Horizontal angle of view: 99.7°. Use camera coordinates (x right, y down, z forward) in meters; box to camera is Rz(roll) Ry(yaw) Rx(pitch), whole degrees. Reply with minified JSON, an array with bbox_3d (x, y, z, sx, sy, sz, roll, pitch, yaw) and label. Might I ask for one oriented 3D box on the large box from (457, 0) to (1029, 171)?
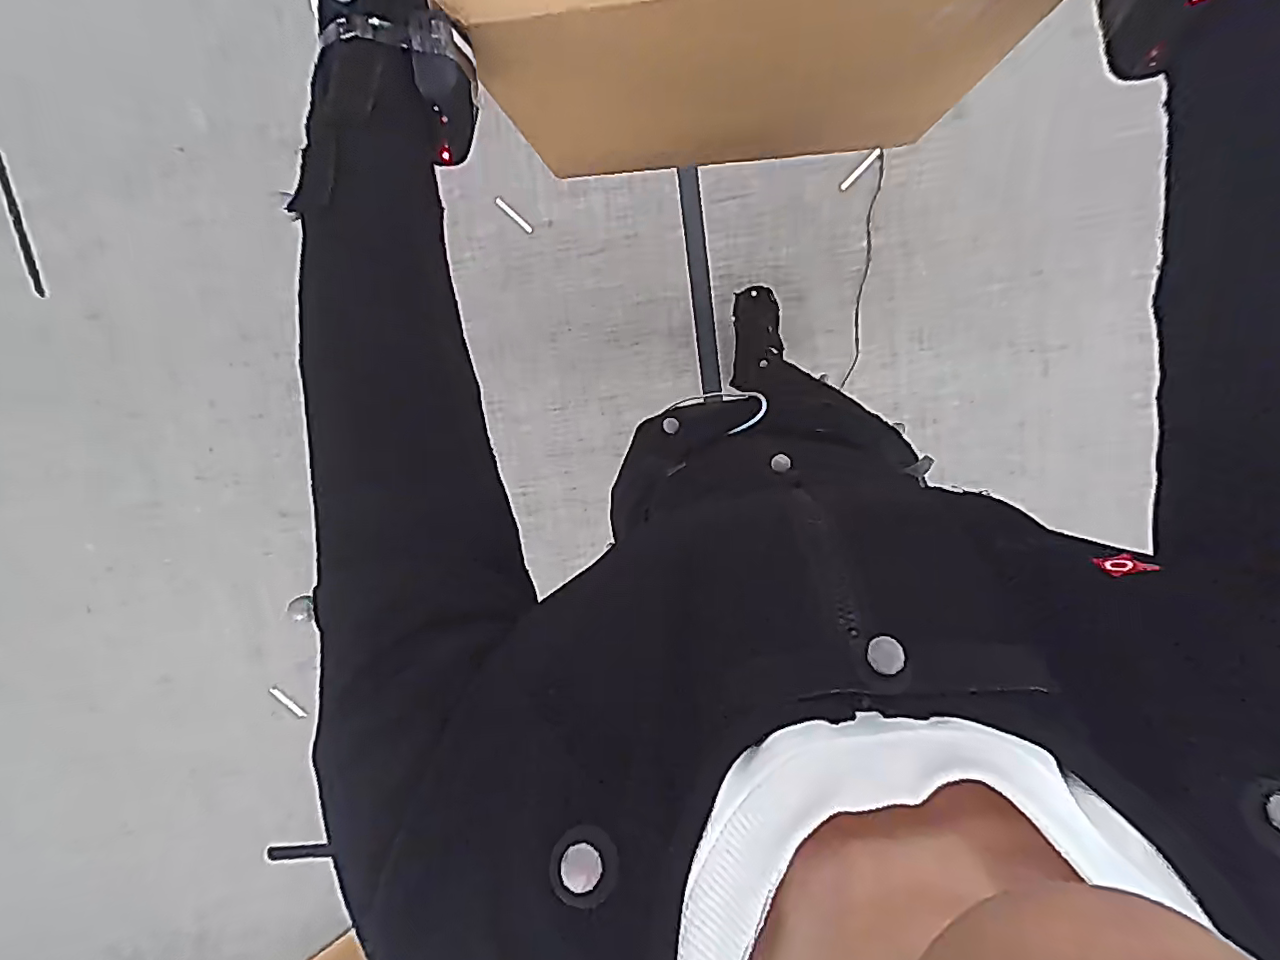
[{"bbox_3d":[0.077,-0.487,0.438,0.408,0.320,0.320,-3,103,6],"label":"large box"}]
